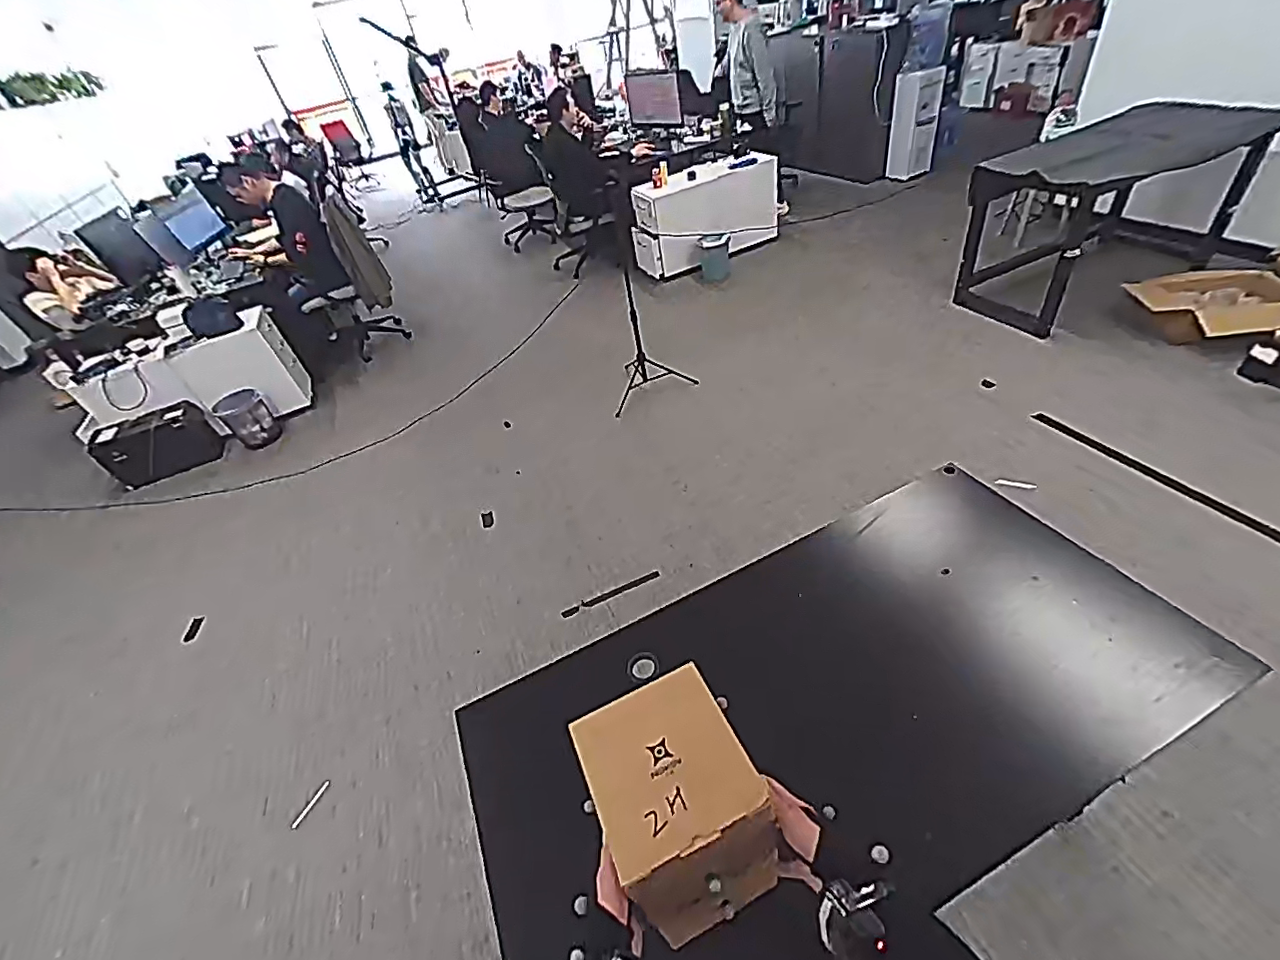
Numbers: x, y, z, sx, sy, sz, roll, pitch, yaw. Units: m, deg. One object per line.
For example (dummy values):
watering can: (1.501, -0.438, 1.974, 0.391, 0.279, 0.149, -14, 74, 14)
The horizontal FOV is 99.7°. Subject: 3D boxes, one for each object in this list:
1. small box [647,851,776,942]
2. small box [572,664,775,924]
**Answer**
small box: (0.070, 0.480, 0.730, 0.168, 0.176, 0.179, -24, 43, -12)
small box: (0.039, 0.356, 0.621, 0.168, 0.176, 0.179, -23, 40, -10)
